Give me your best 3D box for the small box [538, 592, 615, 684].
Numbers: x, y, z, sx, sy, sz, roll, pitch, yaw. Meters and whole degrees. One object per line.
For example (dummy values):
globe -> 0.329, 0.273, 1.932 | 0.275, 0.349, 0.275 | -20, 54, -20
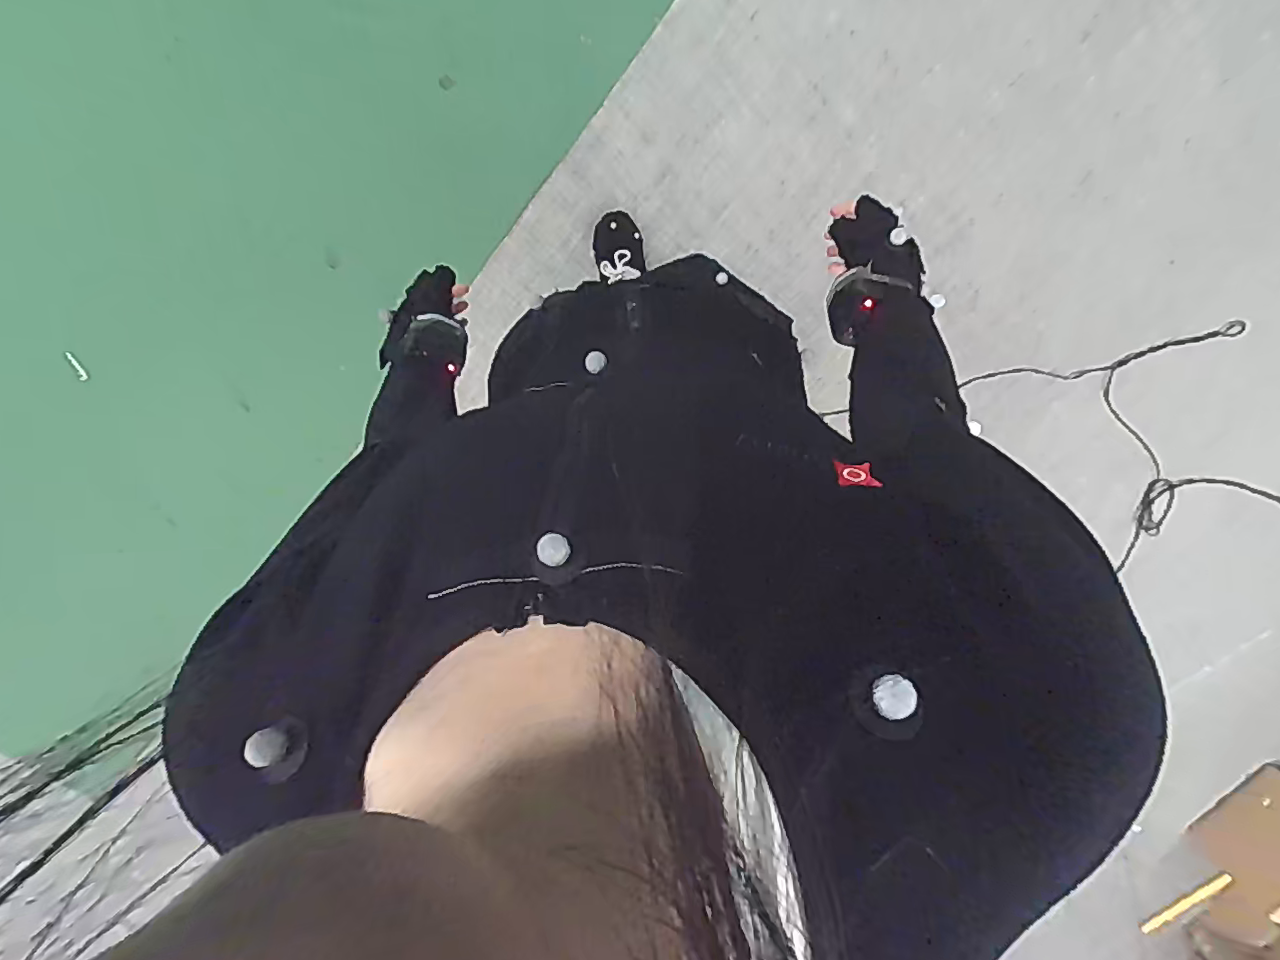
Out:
small box -> -0.189, 0.487, 1.682 | 0.168, 0.176, 0.179 | 34, 110, -13

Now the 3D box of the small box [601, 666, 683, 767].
small box -> 0.007, 0.690, 1.586 | 0.168, 0.176, 0.179 | 38, 109, -16
